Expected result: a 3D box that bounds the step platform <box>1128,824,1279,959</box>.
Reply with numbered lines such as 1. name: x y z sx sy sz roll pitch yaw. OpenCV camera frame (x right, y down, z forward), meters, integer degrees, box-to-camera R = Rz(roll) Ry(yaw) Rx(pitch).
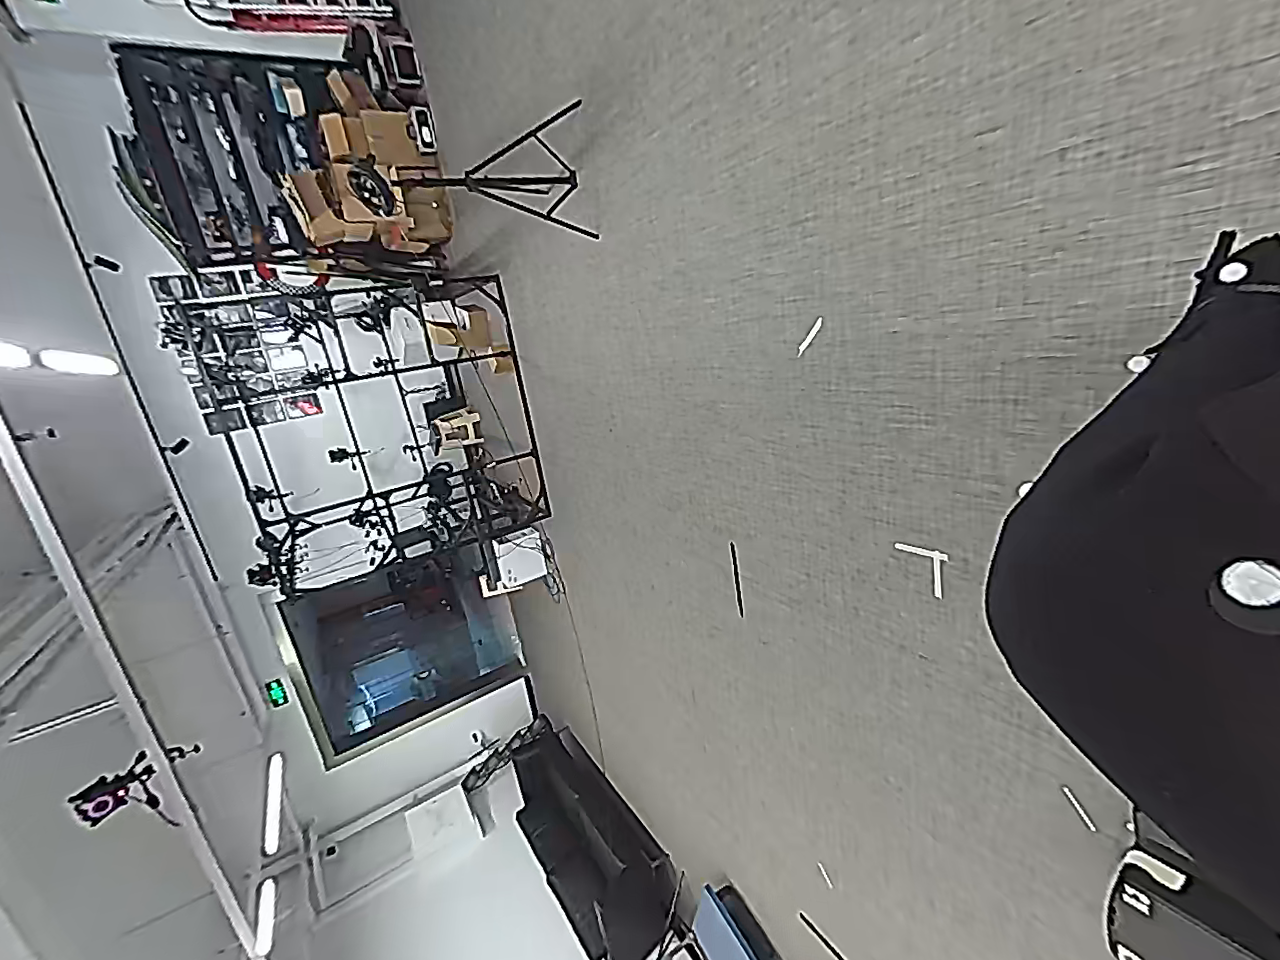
1. step platform: 1.419 1.047 1.062 0.684 0.204 0.286 17 120 59
